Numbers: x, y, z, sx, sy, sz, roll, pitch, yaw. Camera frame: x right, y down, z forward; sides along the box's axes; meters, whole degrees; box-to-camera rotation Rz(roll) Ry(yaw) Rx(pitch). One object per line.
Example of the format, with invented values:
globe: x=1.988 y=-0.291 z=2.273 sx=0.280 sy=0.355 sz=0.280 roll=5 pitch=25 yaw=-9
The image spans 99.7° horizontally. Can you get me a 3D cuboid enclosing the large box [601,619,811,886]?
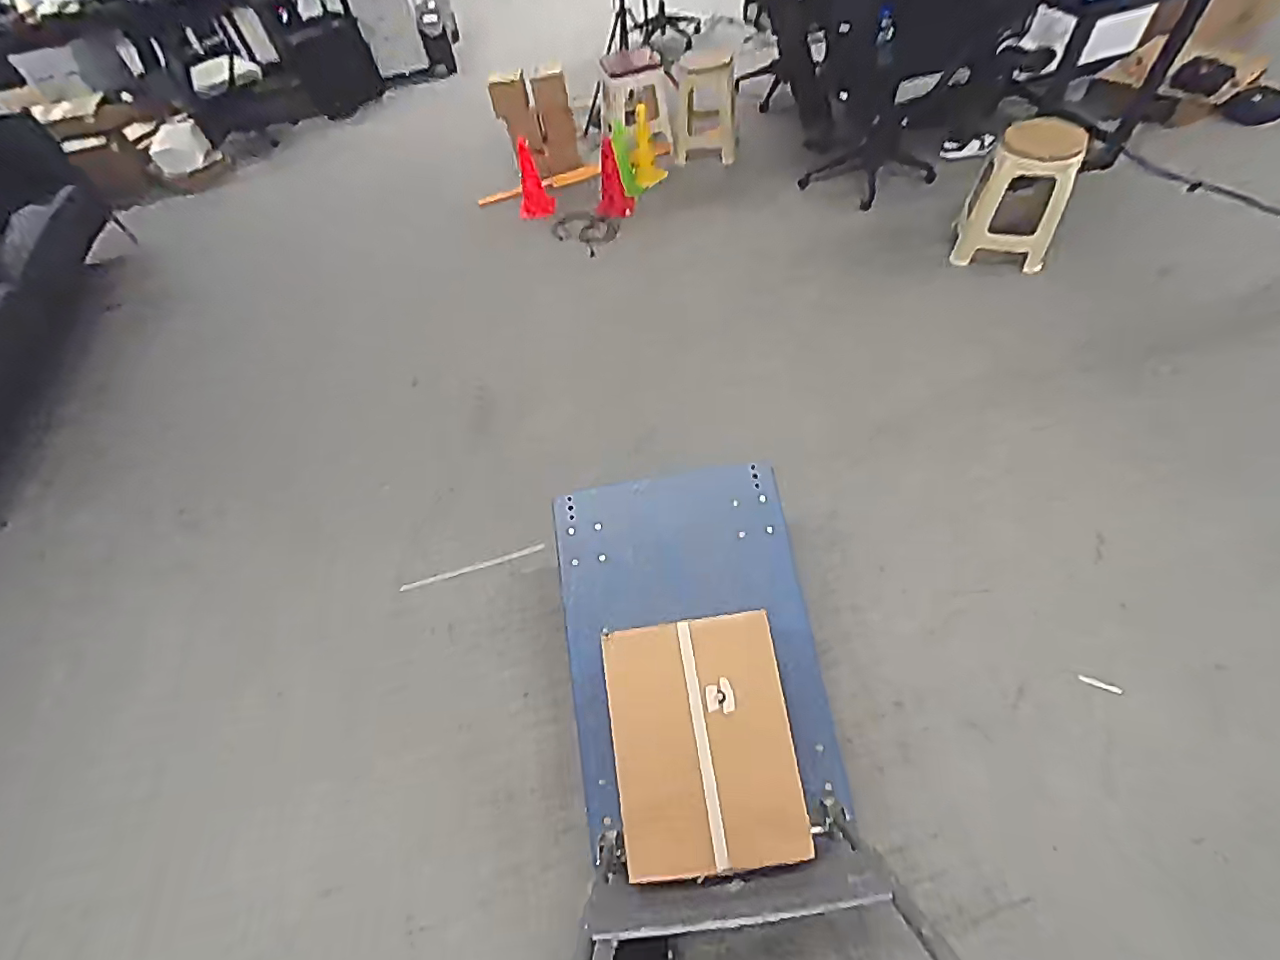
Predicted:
large box: x=0.121 y=0.520 z=1.108 sx=0.320 sy=0.320 sz=0.408 roll=-10 pitch=72 yaw=2
